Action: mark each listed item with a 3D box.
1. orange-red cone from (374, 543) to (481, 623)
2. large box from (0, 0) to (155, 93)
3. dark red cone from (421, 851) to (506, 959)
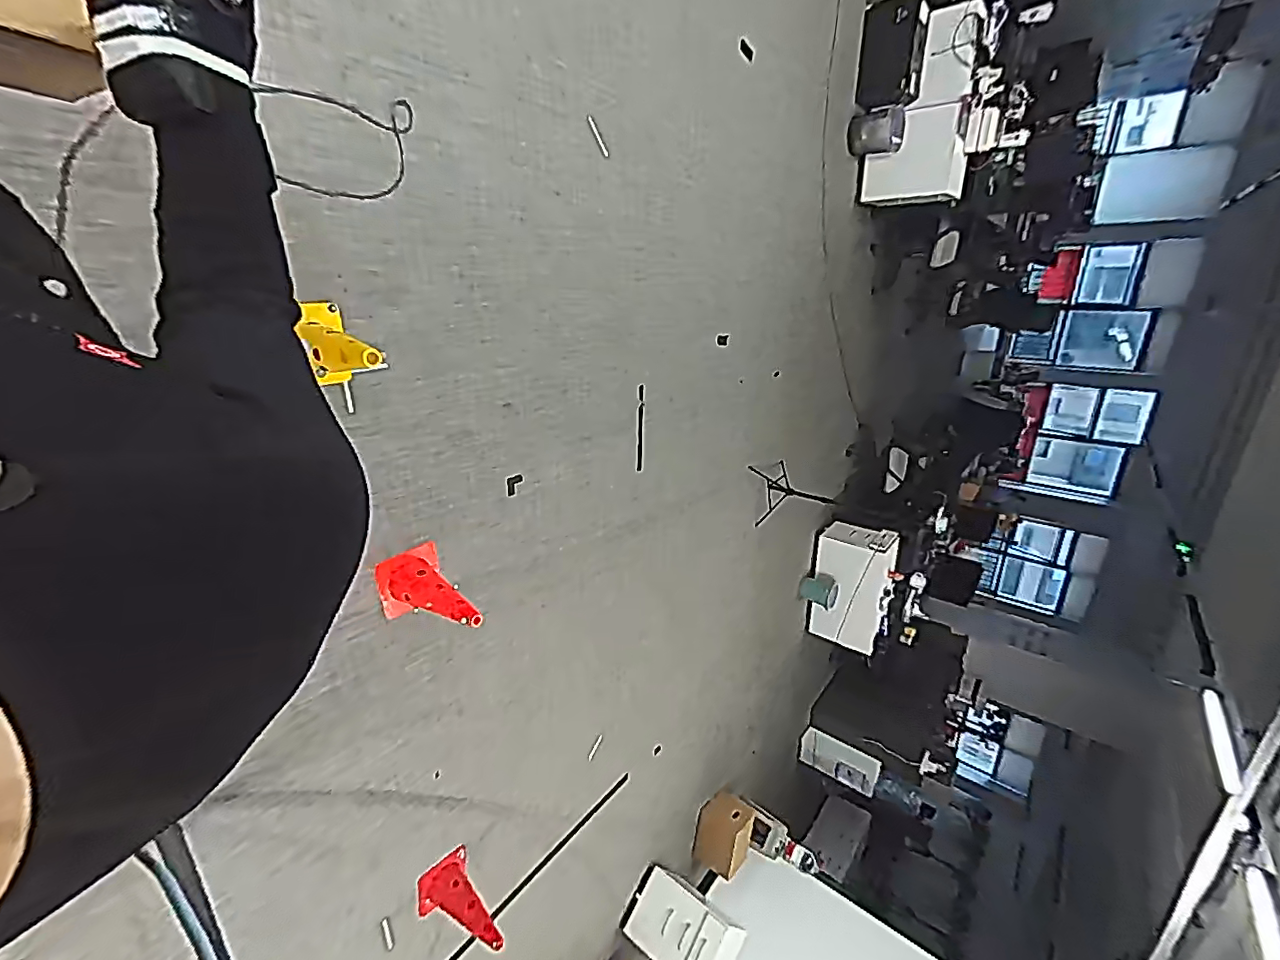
[{"bbox_3d":[-0.594,0.346,1.599,0.198,0.360,0.199,-27,121,-47],"label":"orange-red cone"},{"bbox_3d":[-0.559,-0.439,0.257,0.408,0.320,0.320,-18,123,-50],"label":"large box"},{"bbox_3d":[-0.621,1.591,1.975,0.201,0.394,0.202,-14,113,-49],"label":"dark red cone"}]
